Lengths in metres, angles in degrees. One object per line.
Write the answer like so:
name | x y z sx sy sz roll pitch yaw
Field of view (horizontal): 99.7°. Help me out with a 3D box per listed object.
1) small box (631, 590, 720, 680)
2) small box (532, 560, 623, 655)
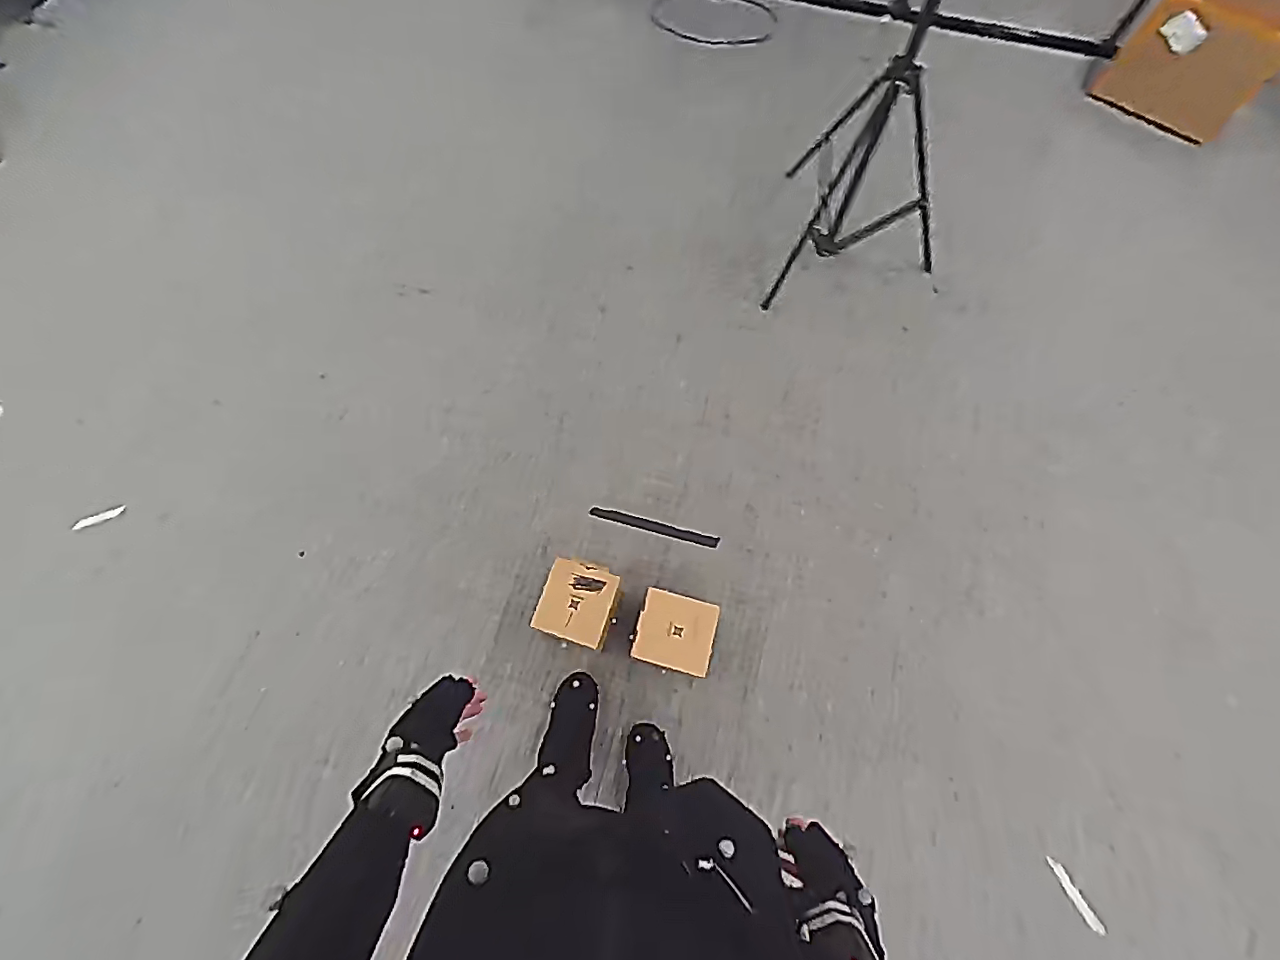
small box | 0.083 0.381 1.315 0.179 0.176 0.168 15 71 5
small box | -0.147 0.320 1.336 0.168 0.176 0.179 18 71 7
